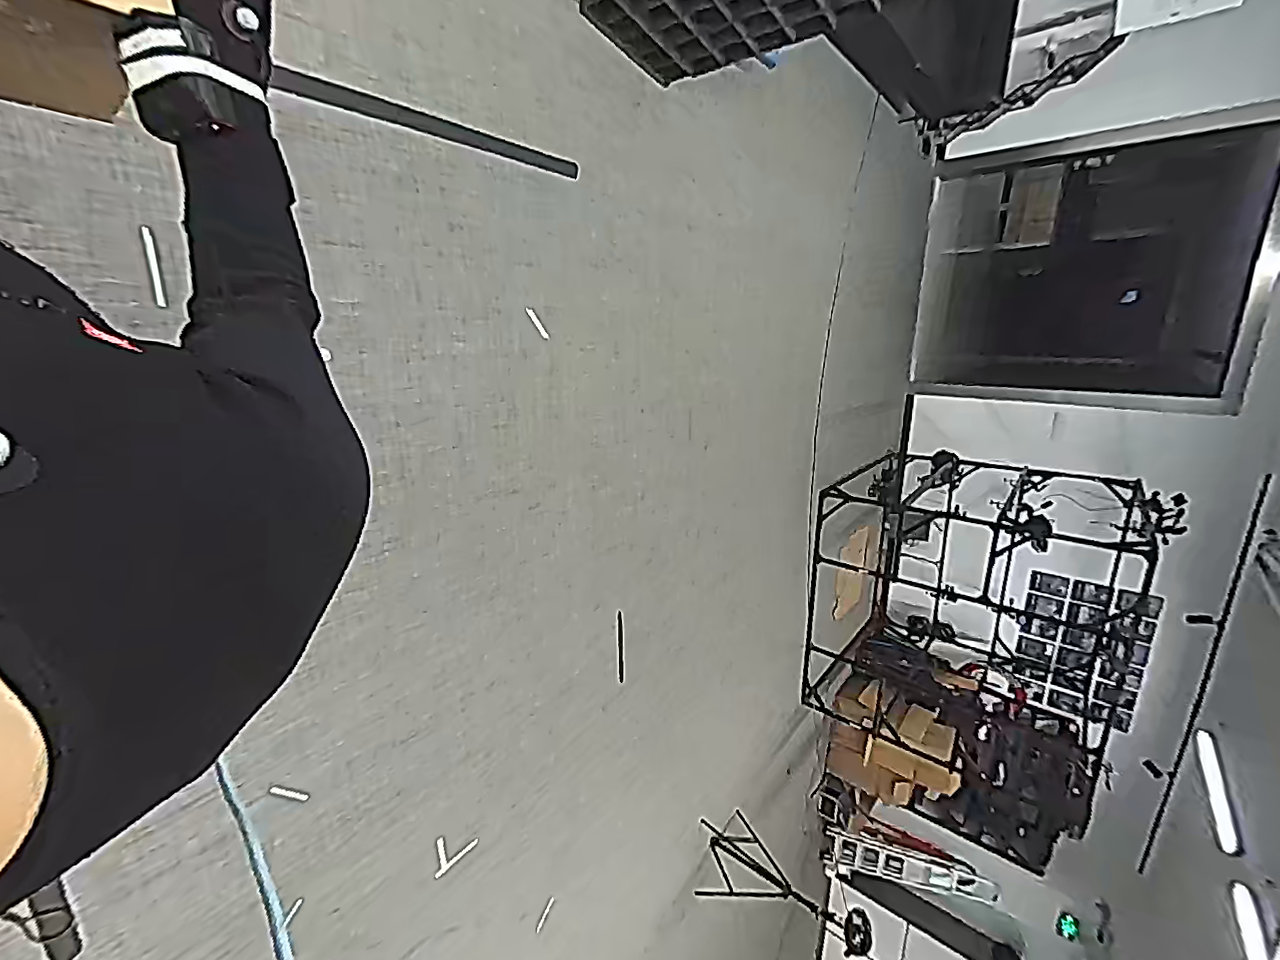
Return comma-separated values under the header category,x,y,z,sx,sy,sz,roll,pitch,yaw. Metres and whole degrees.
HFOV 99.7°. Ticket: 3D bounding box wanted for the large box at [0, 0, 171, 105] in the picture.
category,x,y,z,sx,sy,sz,roll,pitch,yaw
large box,-0.566,-0.461,0.282,0.408,0.320,0.320,-16,115,-48
